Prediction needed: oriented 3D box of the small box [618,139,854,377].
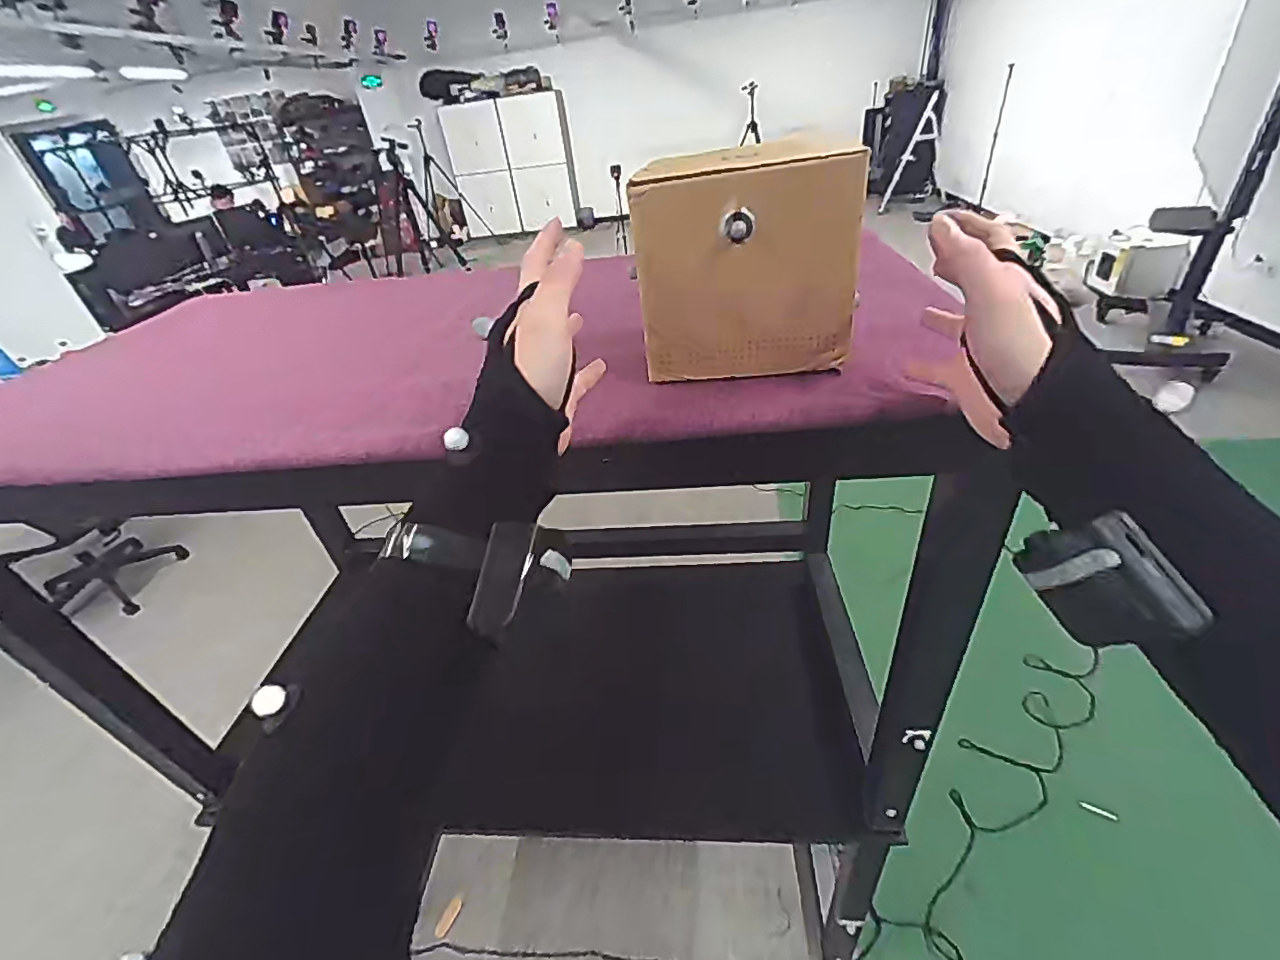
[{"bbox_3d":[0.090,-0.204,0.504,0.179,0.176,0.168,-1,35,11],"label":"small box"}]
